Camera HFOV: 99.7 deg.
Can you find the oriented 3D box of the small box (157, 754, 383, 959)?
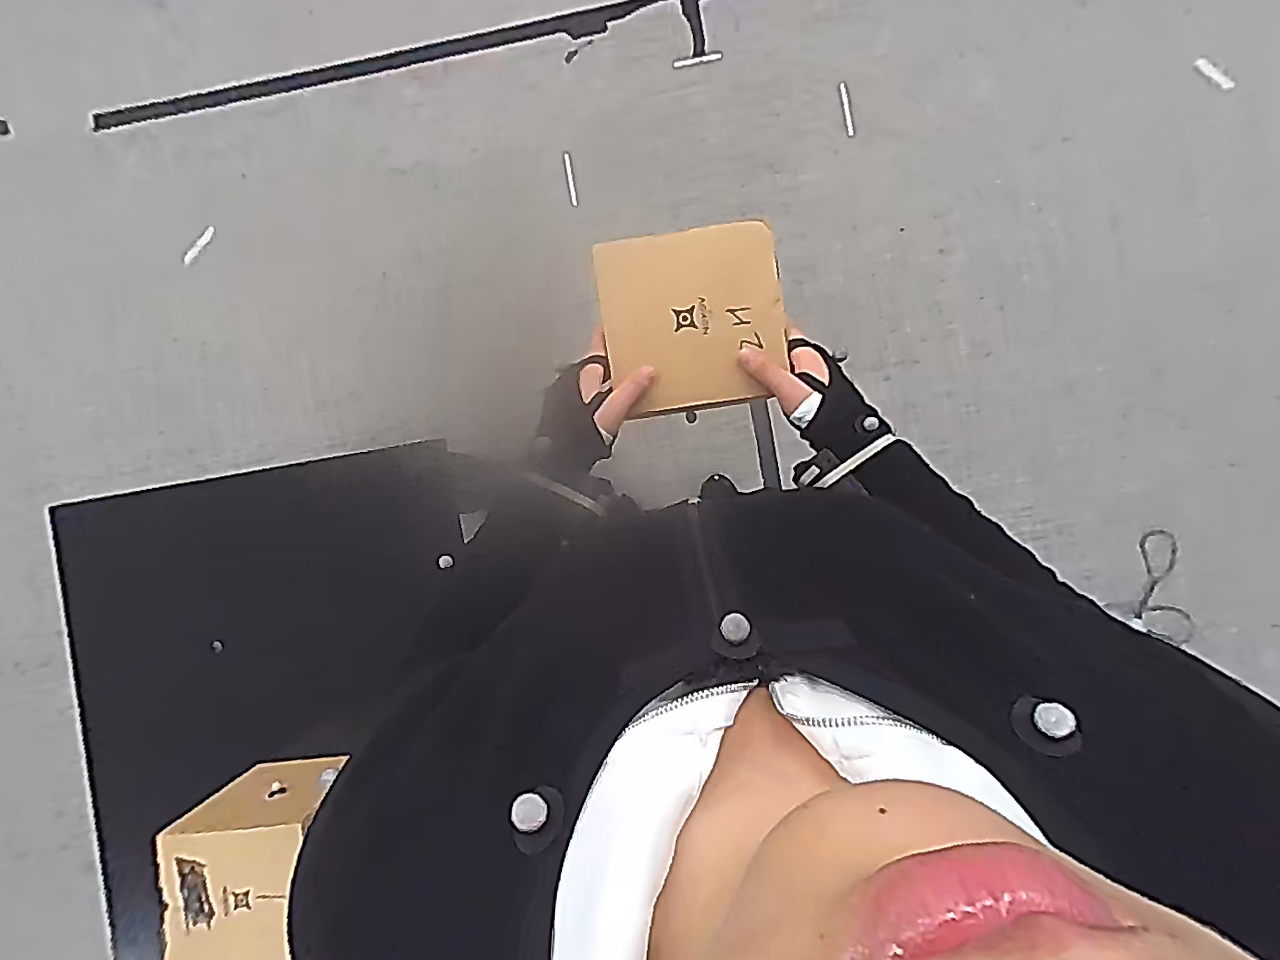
[{"bbox_3d":[-0.464,0.481,0.701,0.179,0.176,0.168,-6,89,0],"label":"small box"}]

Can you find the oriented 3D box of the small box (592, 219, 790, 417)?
[{"bbox_3d":[0.051,-0.162,0.597,0.179,0.176,0.168,-8,96,0],"label":"small box"}]
